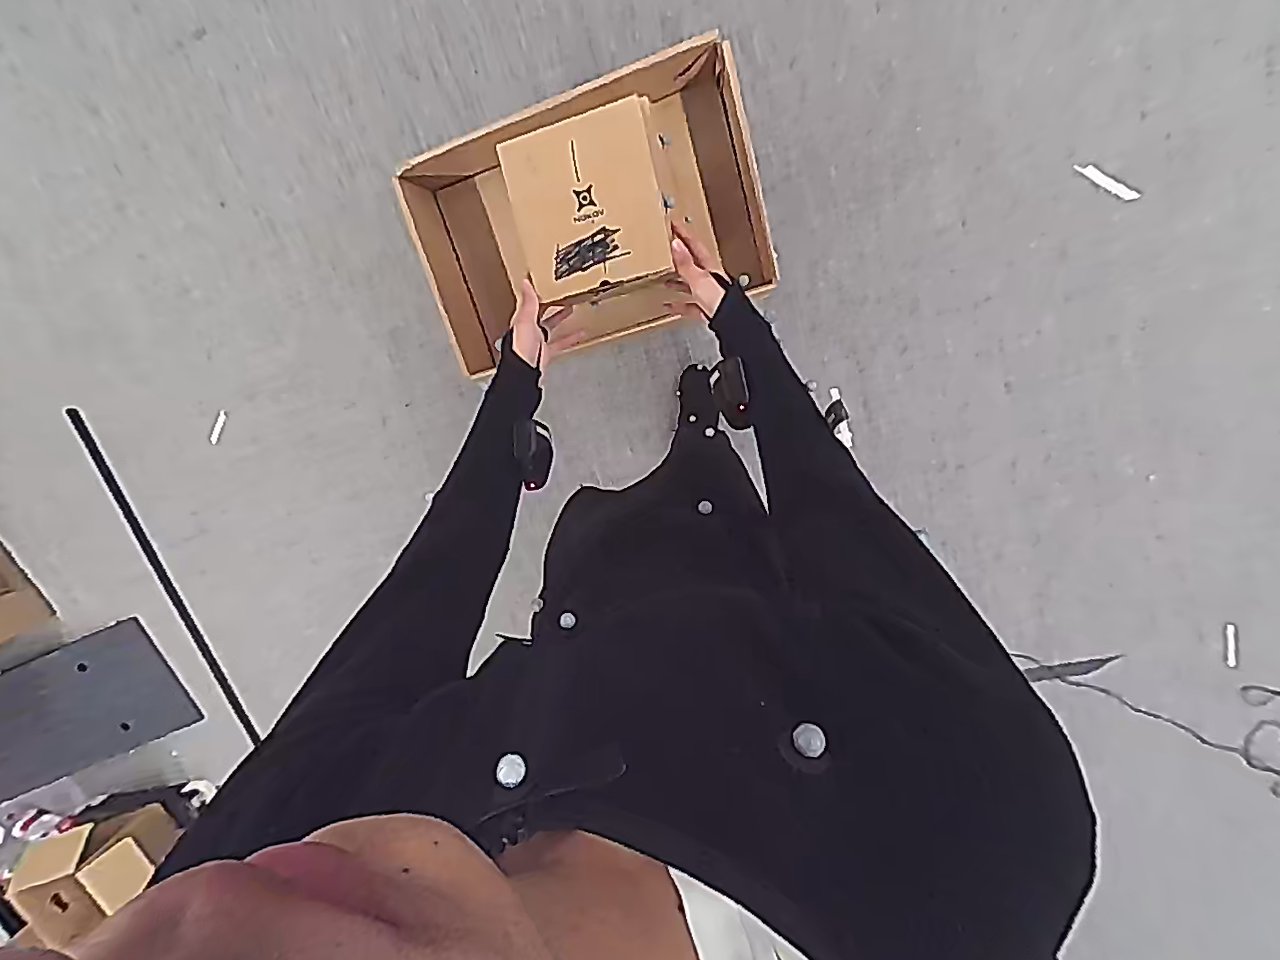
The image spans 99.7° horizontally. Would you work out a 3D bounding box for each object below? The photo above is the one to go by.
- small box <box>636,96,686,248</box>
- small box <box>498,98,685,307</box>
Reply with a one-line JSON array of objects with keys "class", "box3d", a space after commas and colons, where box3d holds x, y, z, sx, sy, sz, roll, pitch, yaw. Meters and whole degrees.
[{"class": "small box", "box3d": [-0.032, -0.428, 0.816, 0.168, 0.176, 0.179, -11, 105, 14]}, {"class": "small box", "box3d": [-0.045, -0.320, 0.664, 0.168, 0.176, 0.179, -10, 105, 13]}]
